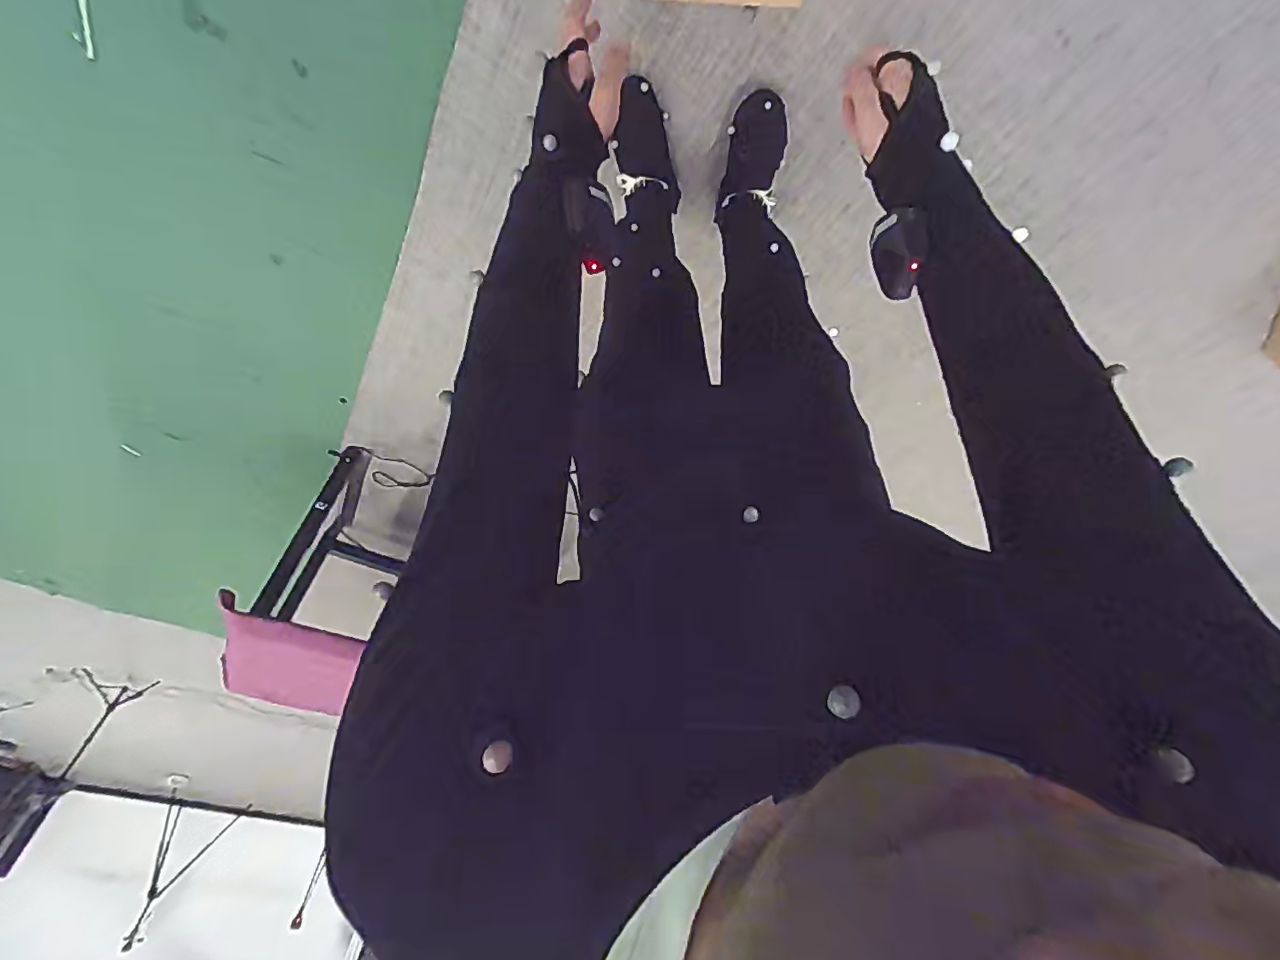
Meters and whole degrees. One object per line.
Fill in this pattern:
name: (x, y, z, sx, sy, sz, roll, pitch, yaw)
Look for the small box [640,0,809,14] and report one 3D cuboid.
small box: (0.081, -0.566, 0.509, 0.179, 0.176, 0.168, 5, 138, 1)
